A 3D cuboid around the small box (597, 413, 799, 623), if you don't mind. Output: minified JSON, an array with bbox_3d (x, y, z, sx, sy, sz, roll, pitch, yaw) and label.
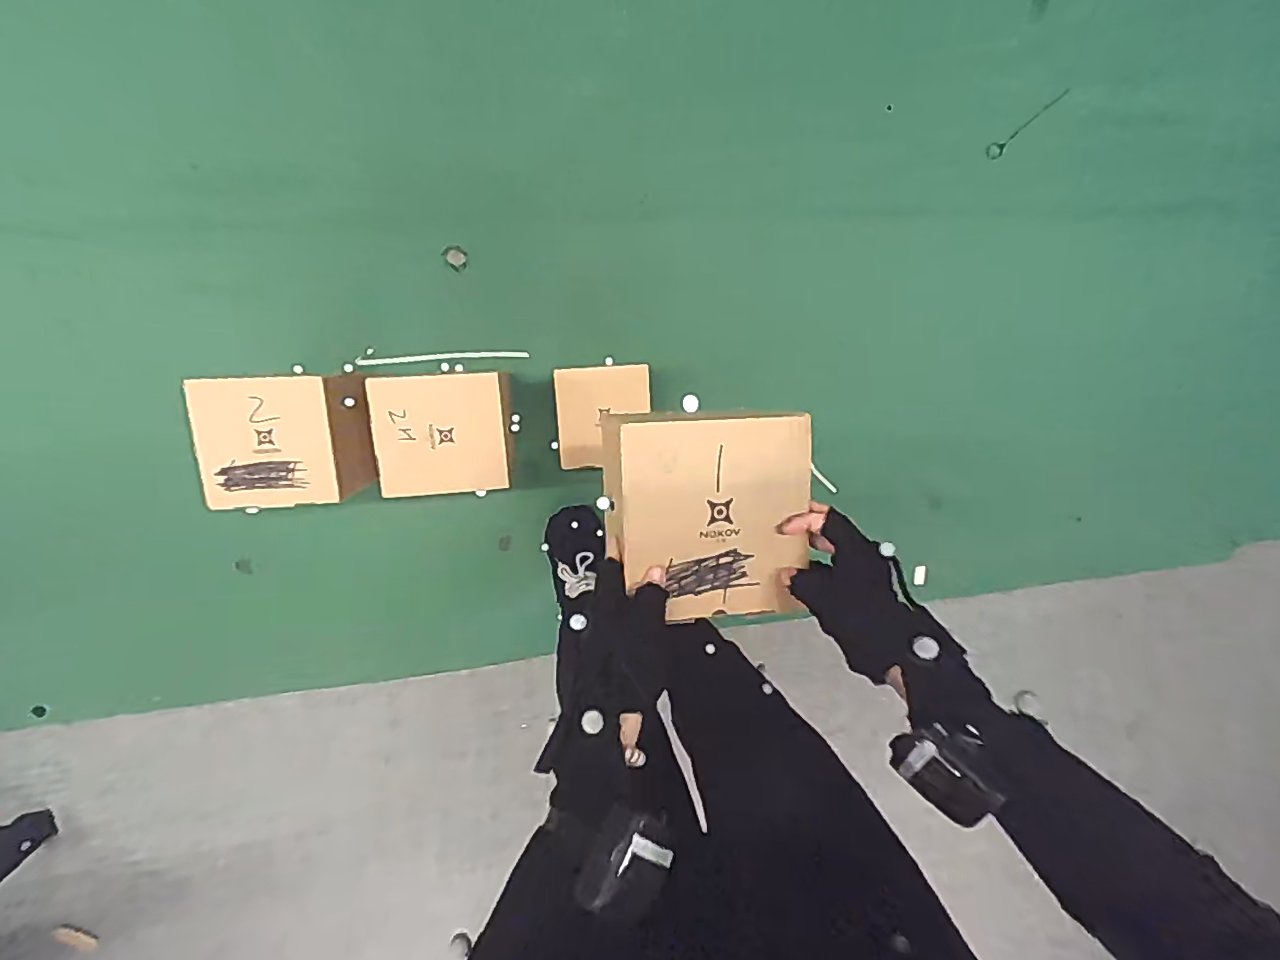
[{"bbox_3d":[0.047,0.025,0.551,0.168,0.176,0.179,-3,99,-10],"label":"small box"}]

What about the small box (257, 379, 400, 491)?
[{"bbox_3d":[-0.536,-0.085,0.957,0.168,0.176,0.179,-1,102,-9],"label":"small box"}]

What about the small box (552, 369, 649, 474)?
[{"bbox_3d":[-0.077,-0.117,1.025,0.168,0.176,0.179,-6,103,-8],"label":"small box"}]
